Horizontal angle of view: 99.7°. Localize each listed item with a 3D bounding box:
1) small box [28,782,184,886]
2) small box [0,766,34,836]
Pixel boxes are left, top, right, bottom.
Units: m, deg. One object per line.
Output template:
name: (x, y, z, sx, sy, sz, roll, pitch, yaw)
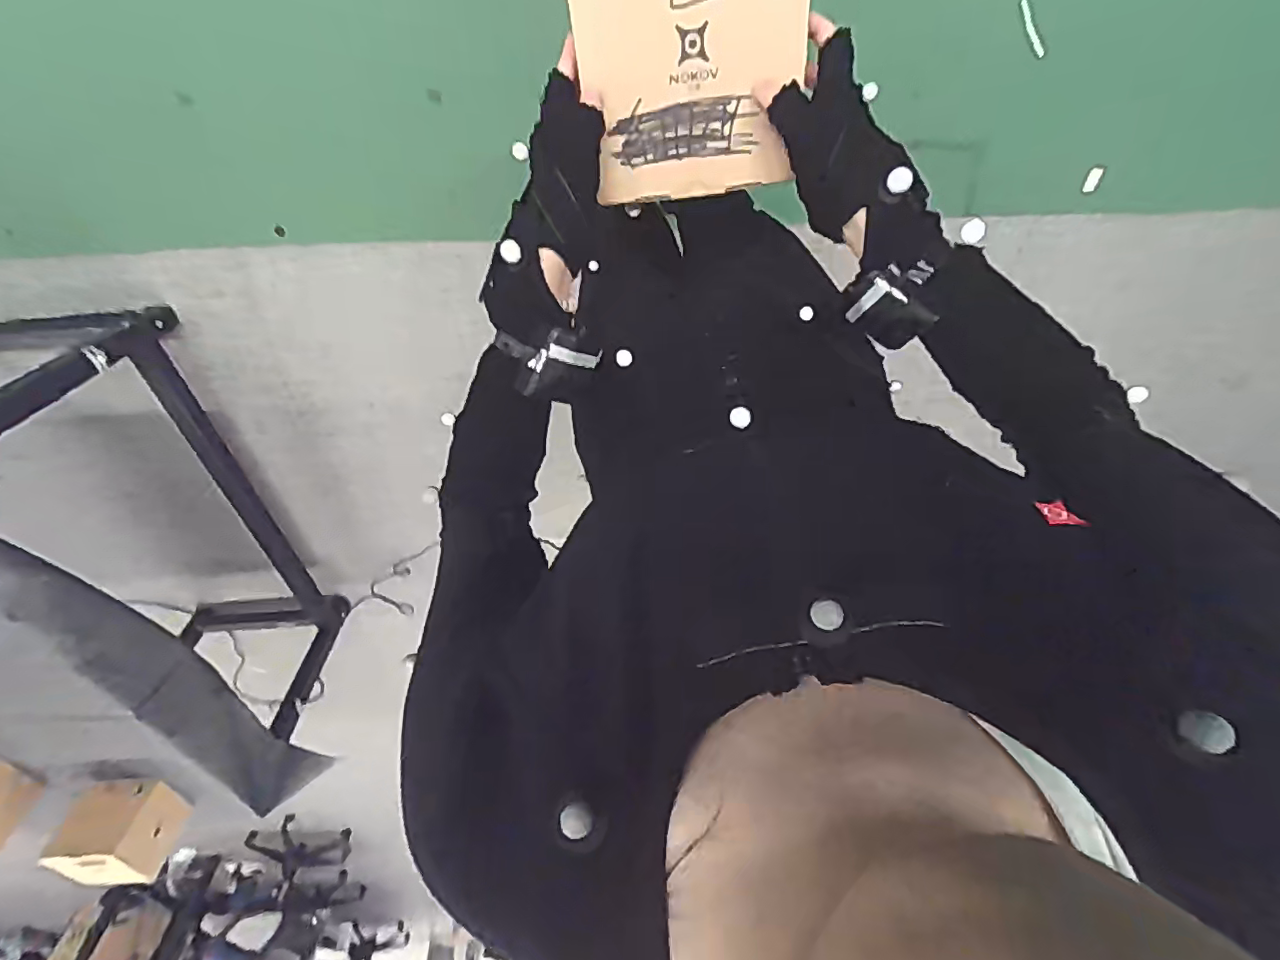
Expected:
small box: (-1.261, 0.843, 1.296, 0.168, 0.176, 0.179, -1, 129, -2)
small box: (-1.534, 0.731, 1.187, 0.168, 0.176, 0.179, -4, 129, -1)
